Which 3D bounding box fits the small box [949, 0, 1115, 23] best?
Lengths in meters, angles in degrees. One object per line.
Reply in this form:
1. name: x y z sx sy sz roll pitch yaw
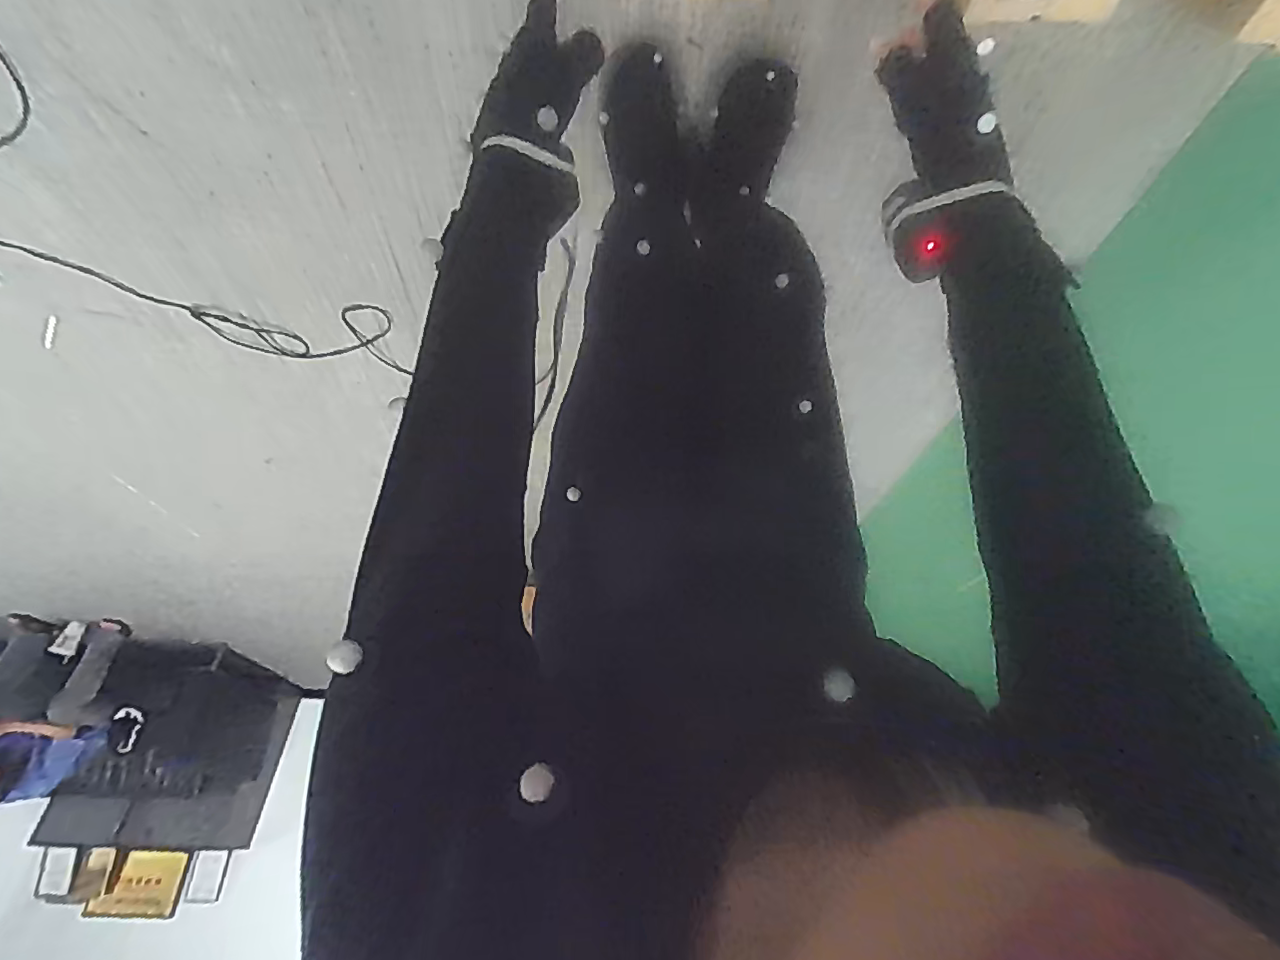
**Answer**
1. small box: 0.446 -0.636 0.587 0.168 0.176 0.179 0 146 0
